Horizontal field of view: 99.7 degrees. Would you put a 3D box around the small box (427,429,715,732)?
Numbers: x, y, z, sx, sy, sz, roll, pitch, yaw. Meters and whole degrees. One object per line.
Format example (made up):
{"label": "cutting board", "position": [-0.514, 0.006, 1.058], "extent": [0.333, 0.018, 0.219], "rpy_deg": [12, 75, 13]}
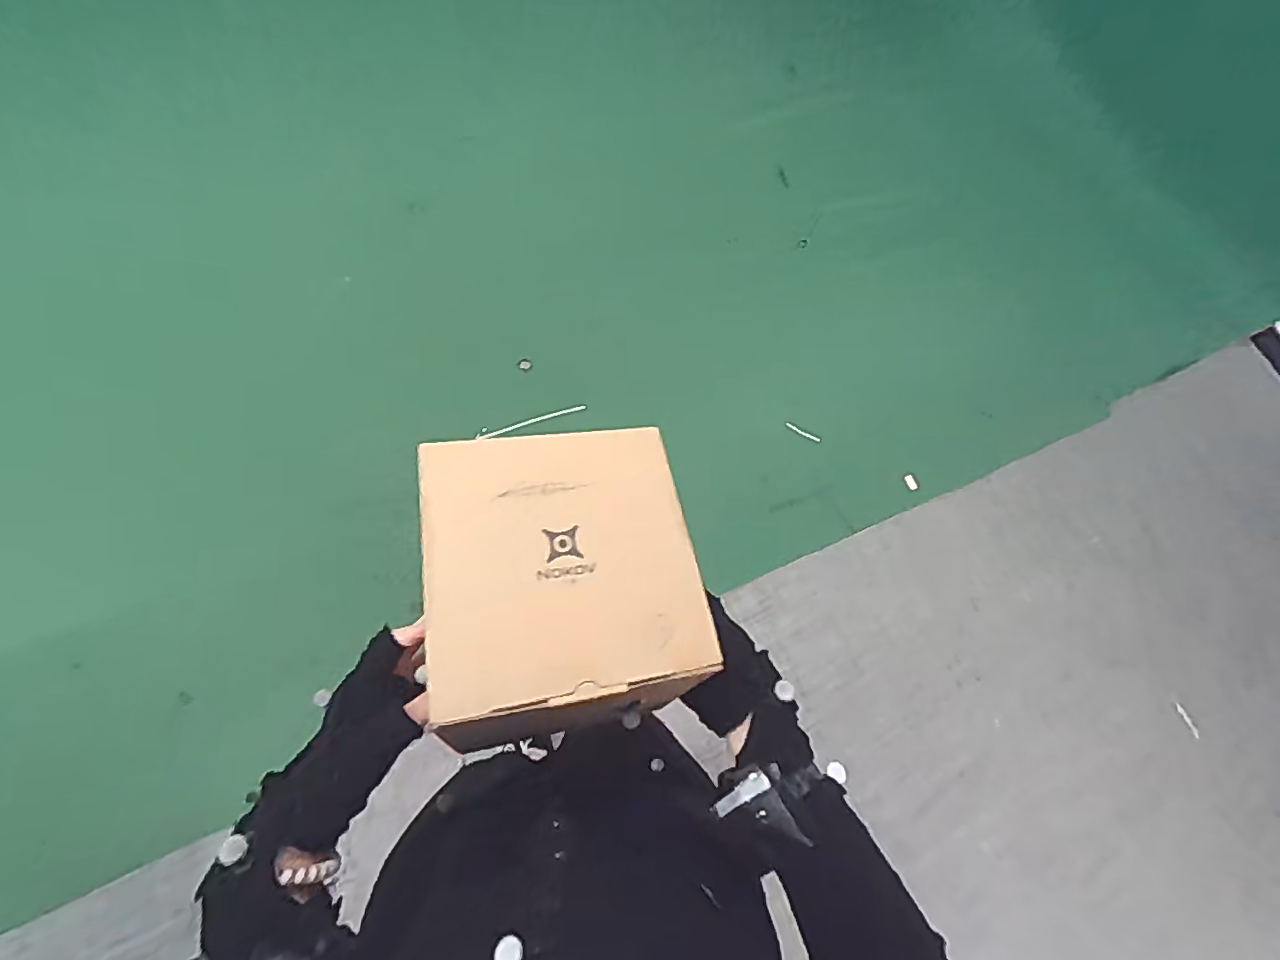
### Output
{"label": "small box", "position": [-0.062, 0.083, 0.411], "extent": [0.168, 0.176, 0.179], "rpy_deg": [-5, 62, -16]}
